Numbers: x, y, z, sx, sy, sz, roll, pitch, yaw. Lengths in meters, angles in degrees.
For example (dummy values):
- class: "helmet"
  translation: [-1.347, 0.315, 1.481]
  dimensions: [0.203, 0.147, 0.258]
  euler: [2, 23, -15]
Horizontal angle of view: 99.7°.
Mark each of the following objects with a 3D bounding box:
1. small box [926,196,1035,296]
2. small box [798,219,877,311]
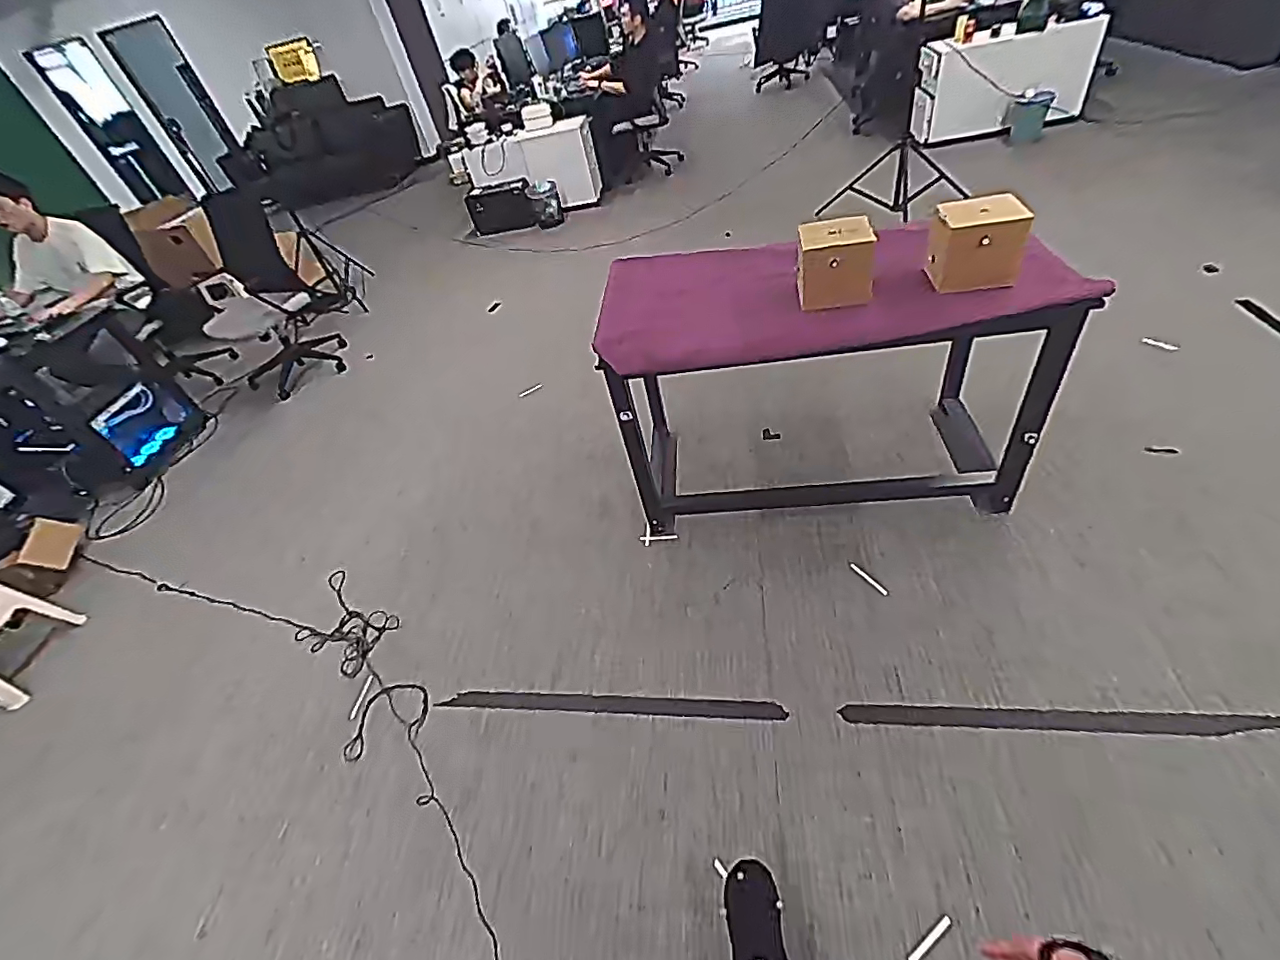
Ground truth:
- class: "small box"
  translation: [0.841, -0.583, 1.355]
  dimensions: [0.179, 0.176, 0.168]
  euler: [-3, 43, 14]
- class: "small box"
  translation: [0.514, -0.562, 1.427]
  dimensions: [0.179, 0.176, 0.168]
  euler: [-2, 45, 13]
